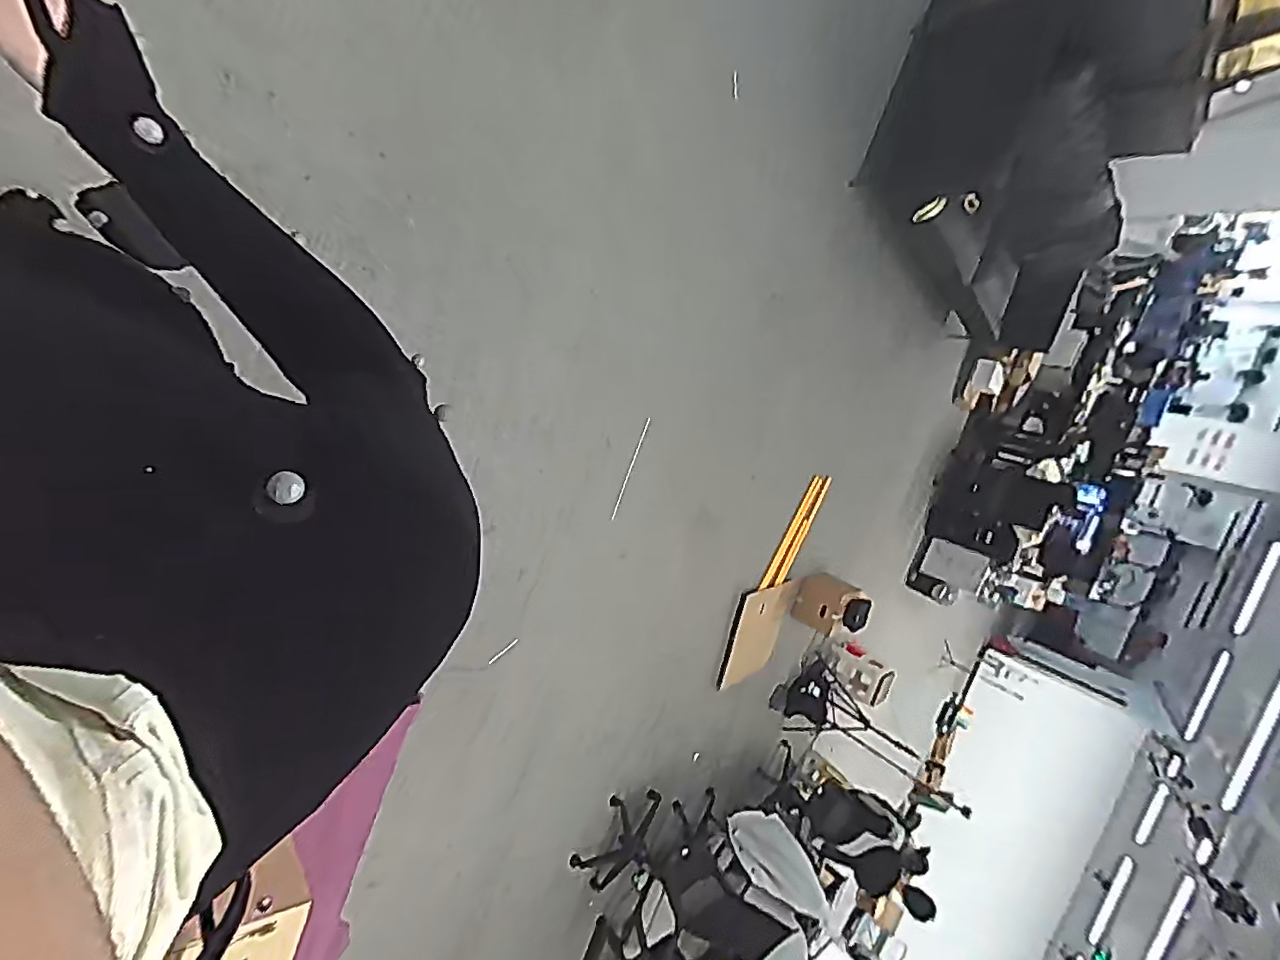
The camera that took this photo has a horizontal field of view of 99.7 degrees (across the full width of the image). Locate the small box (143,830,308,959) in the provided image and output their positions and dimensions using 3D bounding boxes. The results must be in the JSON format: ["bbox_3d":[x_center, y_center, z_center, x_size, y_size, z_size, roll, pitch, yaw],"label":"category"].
[{"bbox_3d":[-0.674,0.721,0.876,0.168,0.176,0.179,17,96,-49],"label":"small box"}]
